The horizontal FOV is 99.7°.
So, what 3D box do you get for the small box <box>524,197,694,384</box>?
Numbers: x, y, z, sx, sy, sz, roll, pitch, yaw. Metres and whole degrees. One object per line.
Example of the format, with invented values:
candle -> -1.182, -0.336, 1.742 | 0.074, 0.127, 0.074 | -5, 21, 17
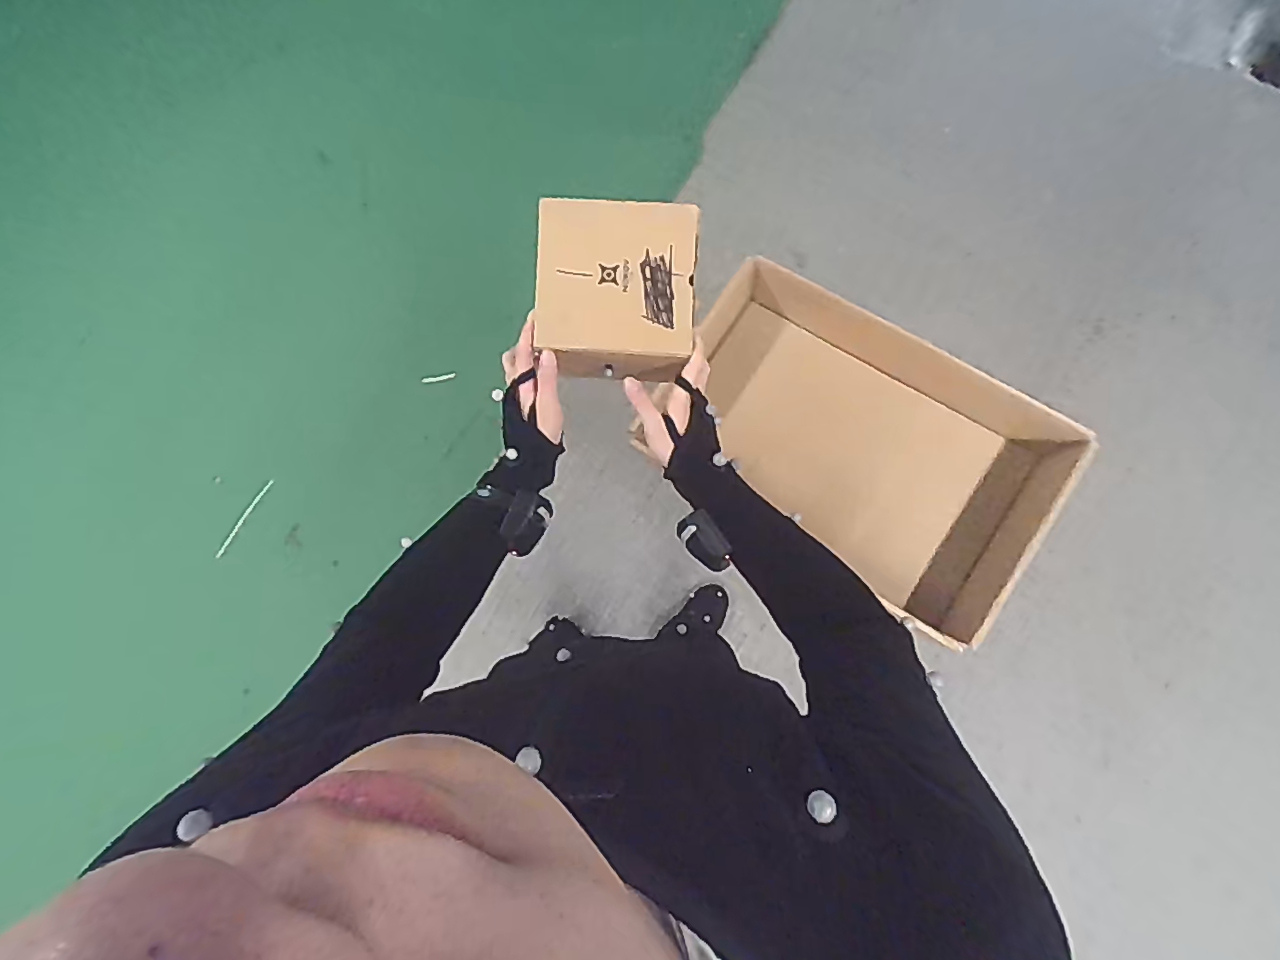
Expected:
small box -> -0.034, -0.214, 0.654 | 0.179, 0.176, 0.168 | 3, 90, 0
